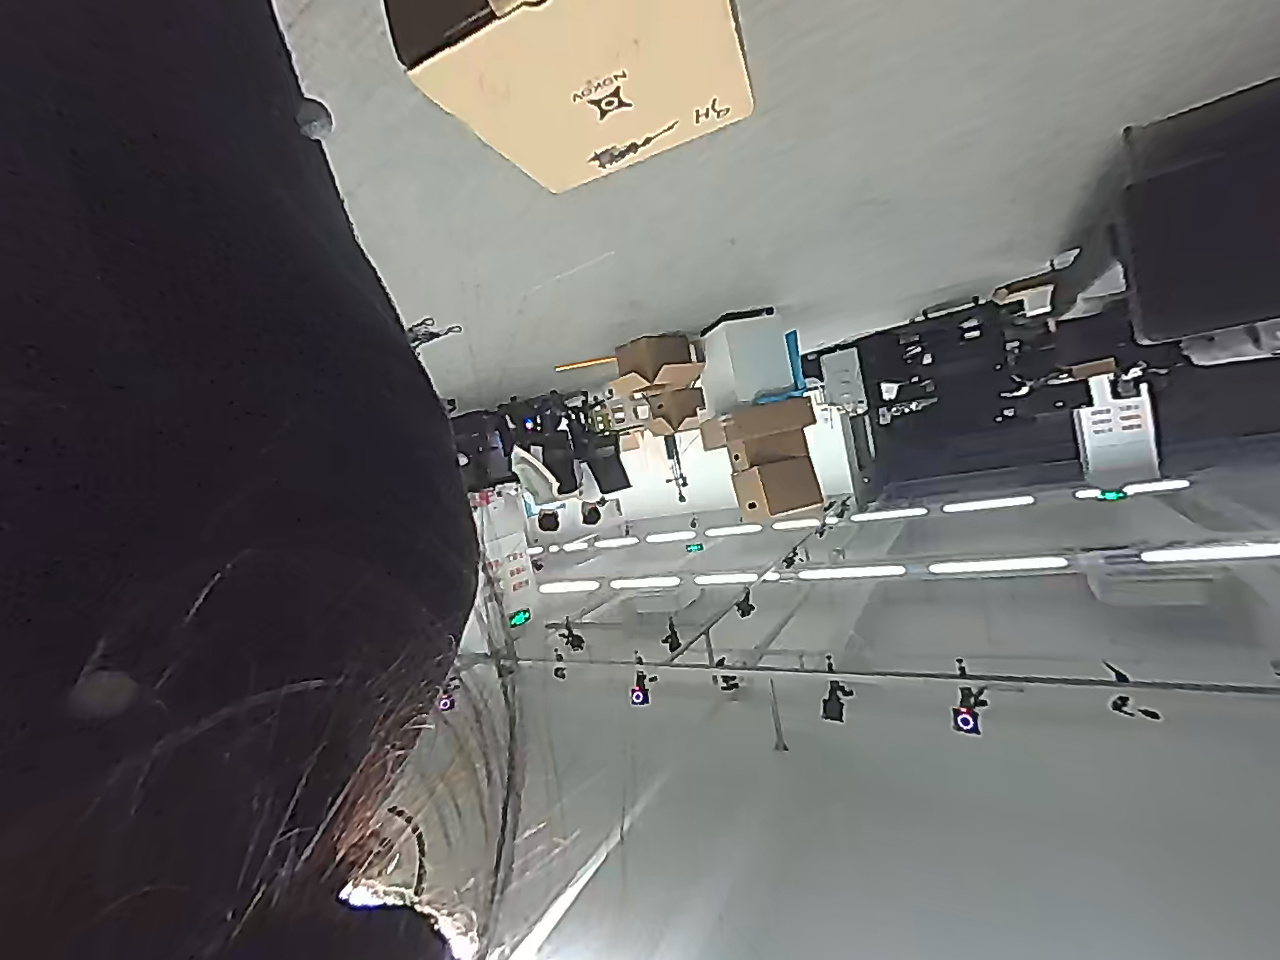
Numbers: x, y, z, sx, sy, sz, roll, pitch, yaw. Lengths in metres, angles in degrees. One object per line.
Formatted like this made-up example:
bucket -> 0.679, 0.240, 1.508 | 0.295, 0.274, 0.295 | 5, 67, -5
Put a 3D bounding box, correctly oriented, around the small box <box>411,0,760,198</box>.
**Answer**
small box -> -0.033, -0.313, 0.325 | 0.168, 0.176, 0.179 | -11, -178, 20
